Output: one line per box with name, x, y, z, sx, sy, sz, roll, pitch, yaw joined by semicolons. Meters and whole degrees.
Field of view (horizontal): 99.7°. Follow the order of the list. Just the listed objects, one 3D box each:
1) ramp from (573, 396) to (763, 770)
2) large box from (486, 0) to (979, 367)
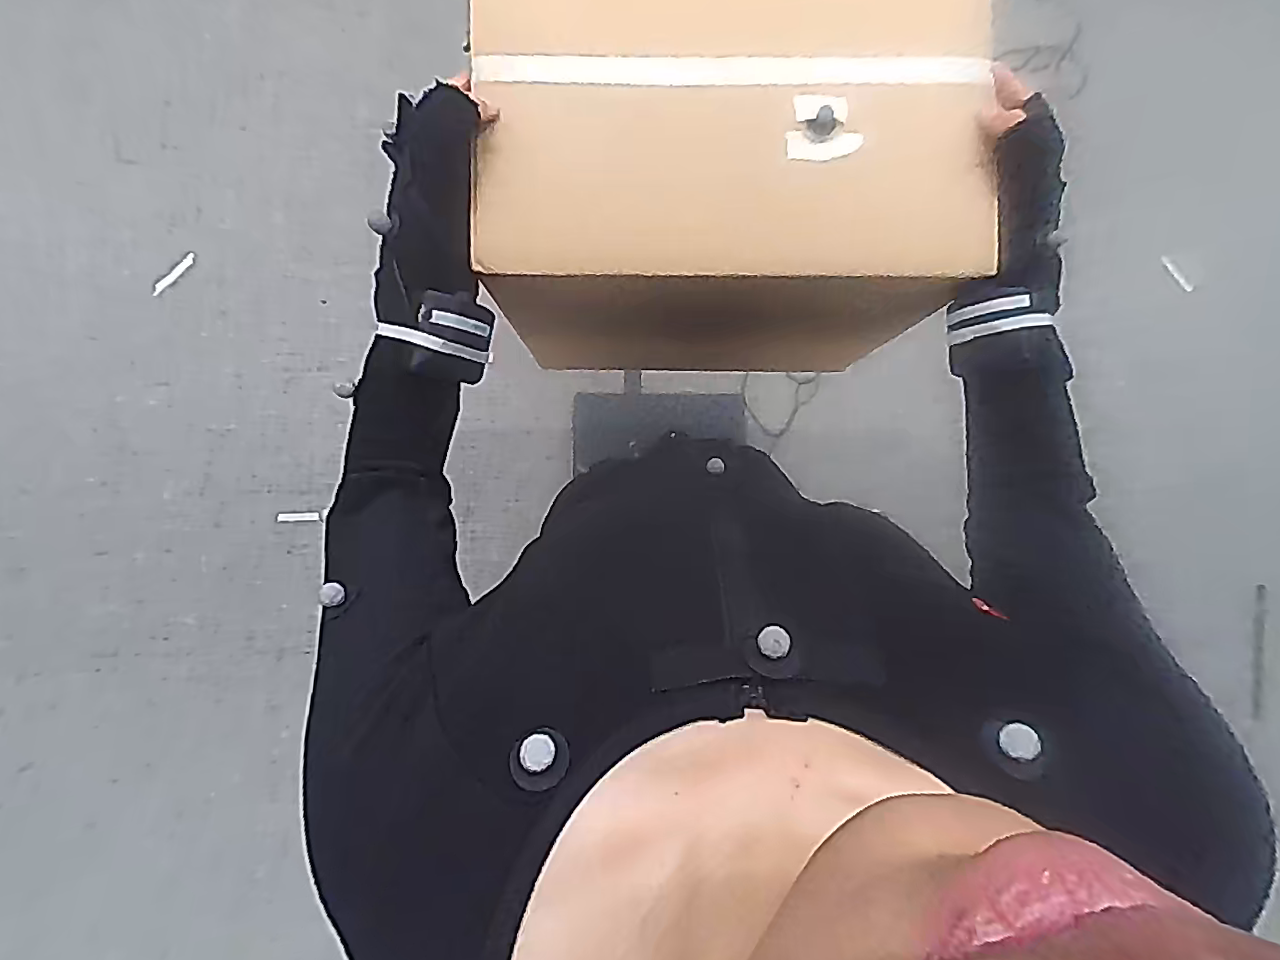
ramp;0.065;0.248;1.475;0.509;0.206;0.991;-2;89;0
large box;0.070;-0.314;0.587;0.408;0.320;0.320;0;88;-1
